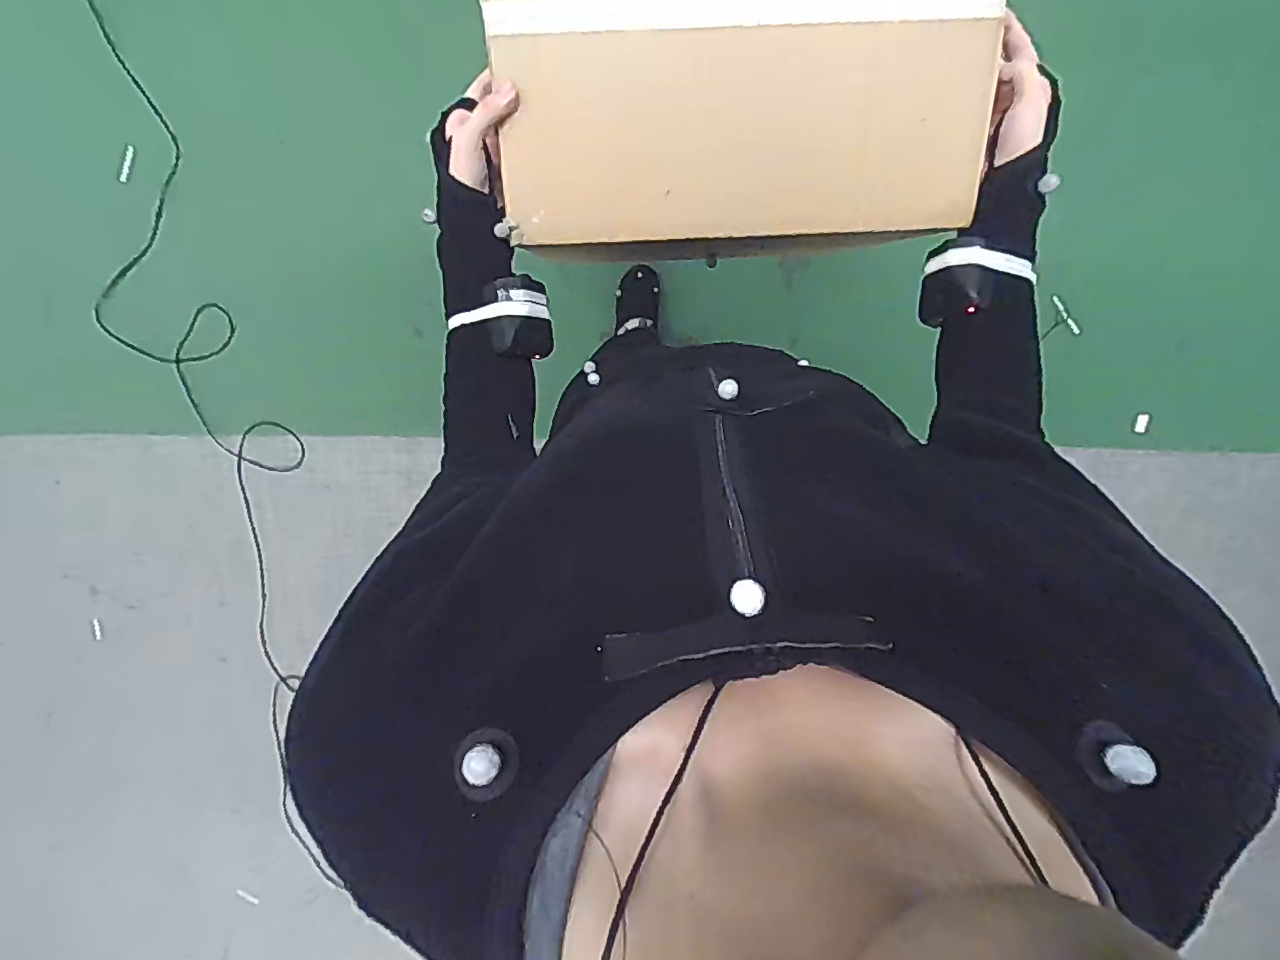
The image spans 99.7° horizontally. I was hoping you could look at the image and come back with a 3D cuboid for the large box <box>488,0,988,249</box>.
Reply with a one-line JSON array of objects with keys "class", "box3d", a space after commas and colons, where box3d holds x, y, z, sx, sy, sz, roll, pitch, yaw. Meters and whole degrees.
[{"class": "large box", "box3d": [0.078, -0.424, 0.566, 0.408, 0.320, 0.320, -3, 109, -1]}]
